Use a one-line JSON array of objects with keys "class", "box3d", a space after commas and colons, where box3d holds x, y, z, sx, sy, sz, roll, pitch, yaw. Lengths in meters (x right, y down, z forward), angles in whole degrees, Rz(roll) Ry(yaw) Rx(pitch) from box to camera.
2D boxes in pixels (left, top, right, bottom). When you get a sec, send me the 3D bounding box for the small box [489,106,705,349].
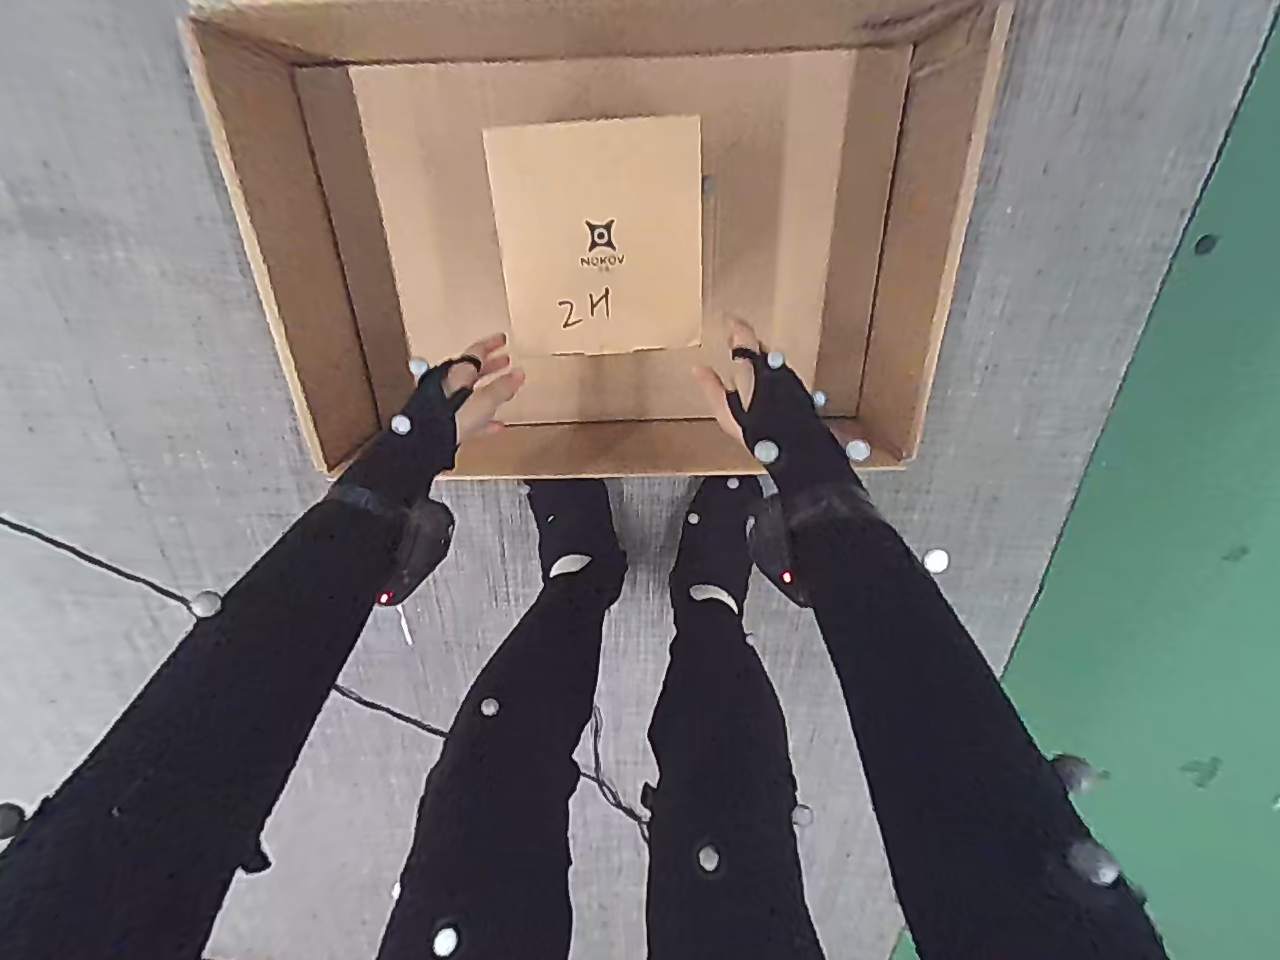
[{"class": "small box", "box3d": [-0.031, -0.231, 0.511, 0.168, 0.176, 0.179, -3, 116, 1]}]
